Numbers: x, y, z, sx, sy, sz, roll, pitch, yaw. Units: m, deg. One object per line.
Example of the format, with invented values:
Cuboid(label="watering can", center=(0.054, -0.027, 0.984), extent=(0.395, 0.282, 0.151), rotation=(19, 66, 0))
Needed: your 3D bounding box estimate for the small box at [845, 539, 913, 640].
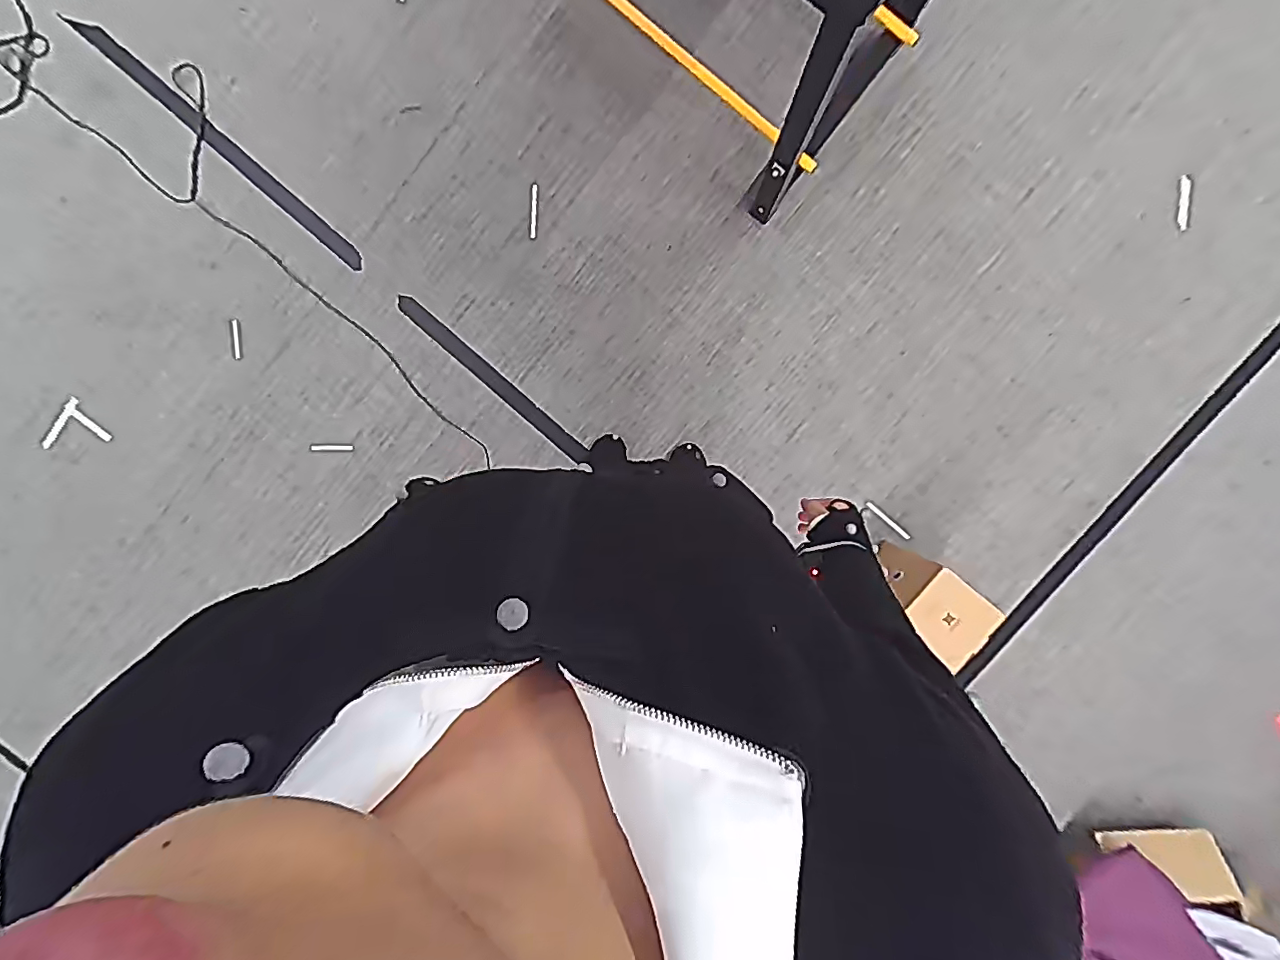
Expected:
Cuboid(label="small box", center=(0.664, 0.279, 1.416), extent=(0.168, 0.176, 0.179), rotation=(38, 95, -2))

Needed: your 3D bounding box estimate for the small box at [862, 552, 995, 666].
Cuboid(label="small box", center=(0.657, 0.287, 1.254), extent=(0.179, 0.176, 0.168), rotation=(39, 93, 0))
